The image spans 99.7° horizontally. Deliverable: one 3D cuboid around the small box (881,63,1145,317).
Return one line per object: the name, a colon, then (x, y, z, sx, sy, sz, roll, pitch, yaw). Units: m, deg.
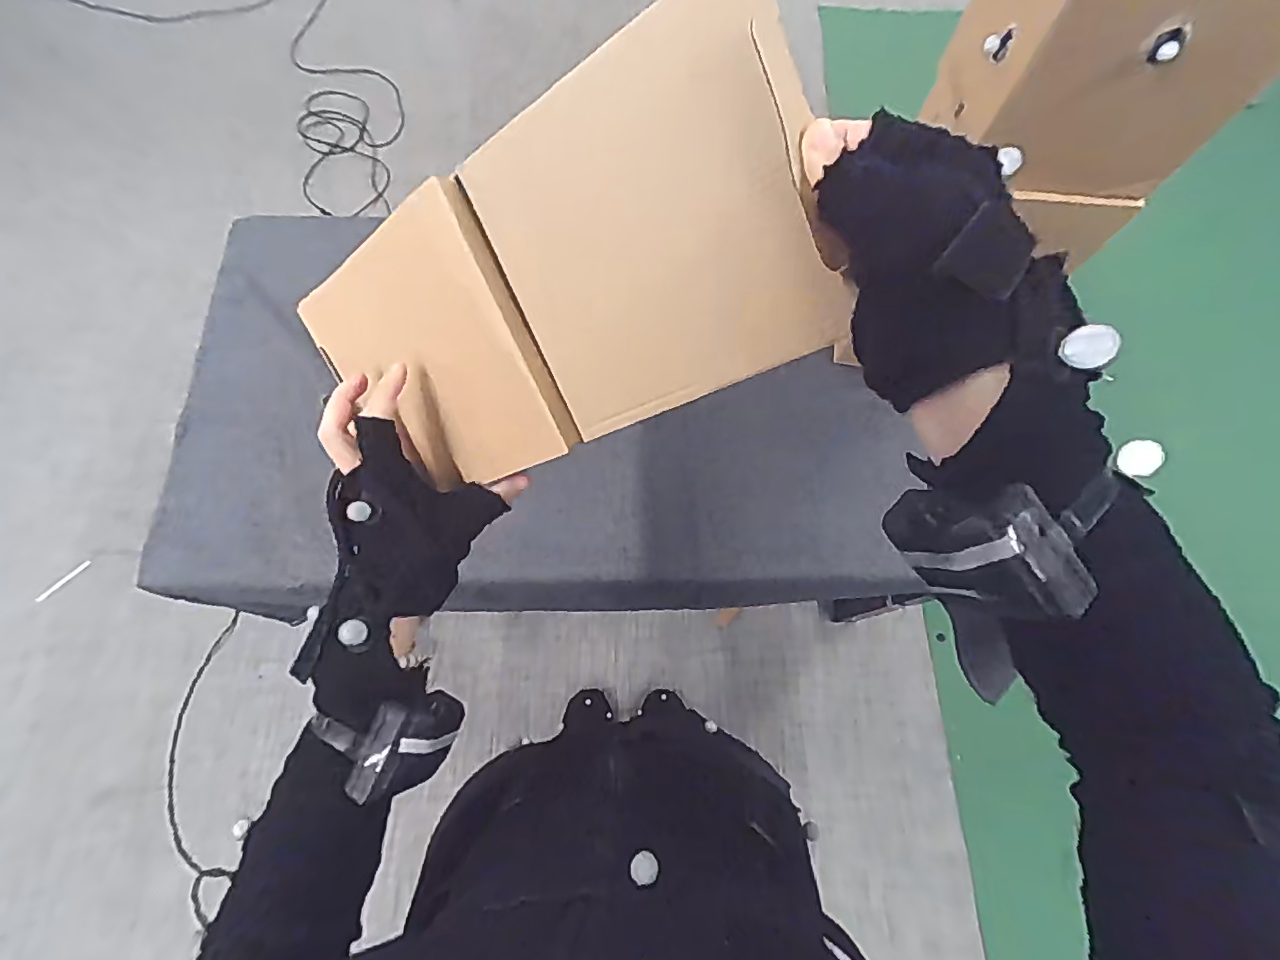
small box: (0.379, -0.306, 0.590, 0.168, 0.176, 0.179, 5, 71, 2)

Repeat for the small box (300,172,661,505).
small box: (-0.101, -0.106, 0.416, 0.179, 0.176, 0.168, -18, 104, 31)

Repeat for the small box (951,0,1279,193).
small box: (0.376, -0.364, 0.438, 0.179, 0.176, 0.168, 7, 71, 2)

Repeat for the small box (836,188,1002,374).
small box: (0.387, -0.267, 0.750, 0.179, 0.176, 0.168, 11, 71, 3)
